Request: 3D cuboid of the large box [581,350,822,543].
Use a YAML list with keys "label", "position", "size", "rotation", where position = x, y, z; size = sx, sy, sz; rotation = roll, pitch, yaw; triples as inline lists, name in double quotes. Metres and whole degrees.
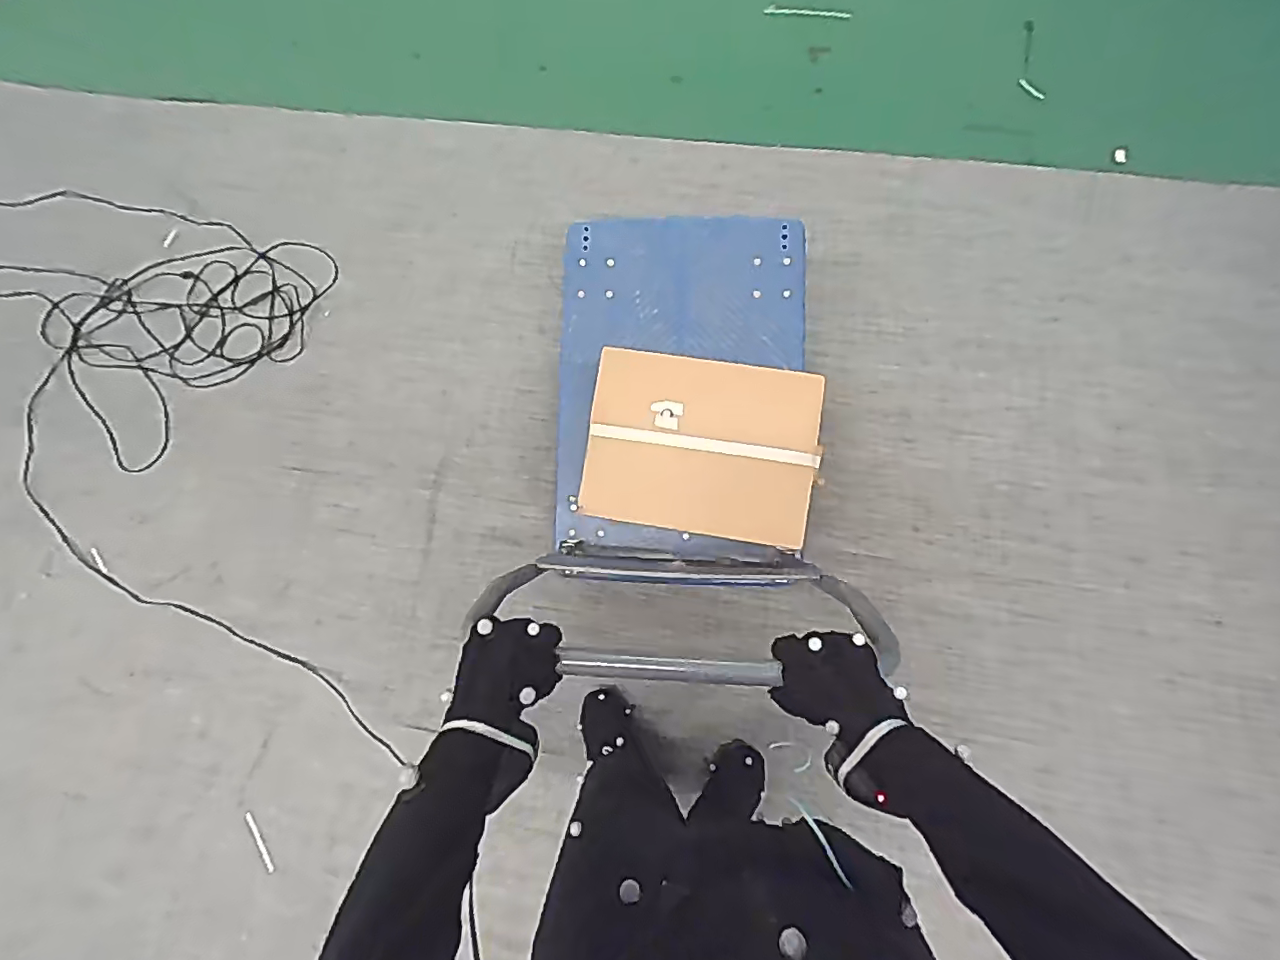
- label: "large box"
  position: [0.124, -0.057, 1.108]
  size: [0.408, 0.320, 0.320]
  rotation: [8, 87, 6]
